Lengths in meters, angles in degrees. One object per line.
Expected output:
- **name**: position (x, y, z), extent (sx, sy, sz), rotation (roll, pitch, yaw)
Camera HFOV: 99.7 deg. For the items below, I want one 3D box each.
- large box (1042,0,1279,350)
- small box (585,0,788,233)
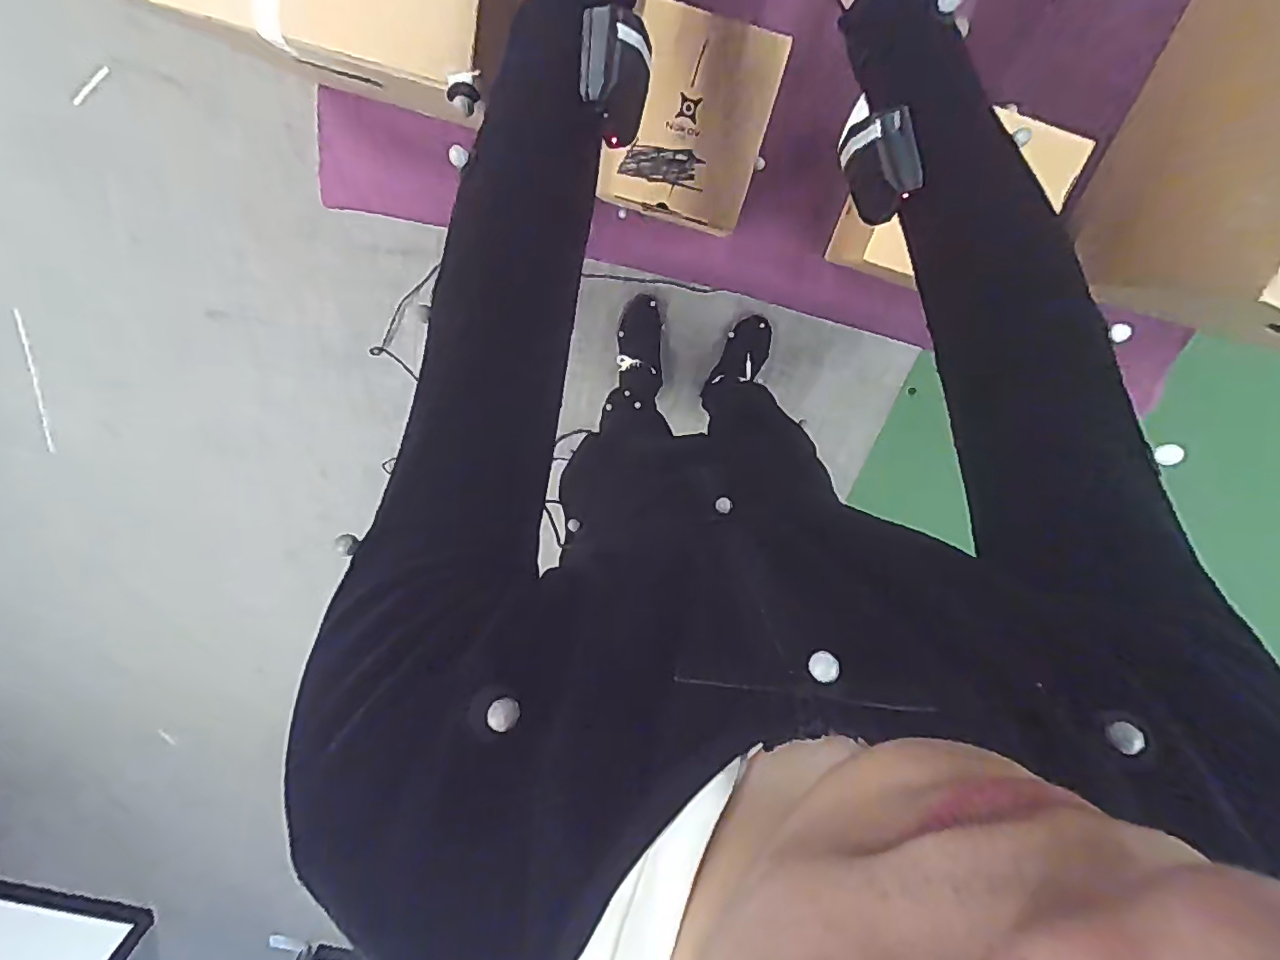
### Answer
- **large box**: position (0.722, -0.343, 0.522), extent (0.320, 0.320, 0.408), rotation (16, 115, -2)
- **small box**: position (0.046, -0.391, 0.611), extent (0.168, 0.176, 0.179), rotation (15, 113, -4)
